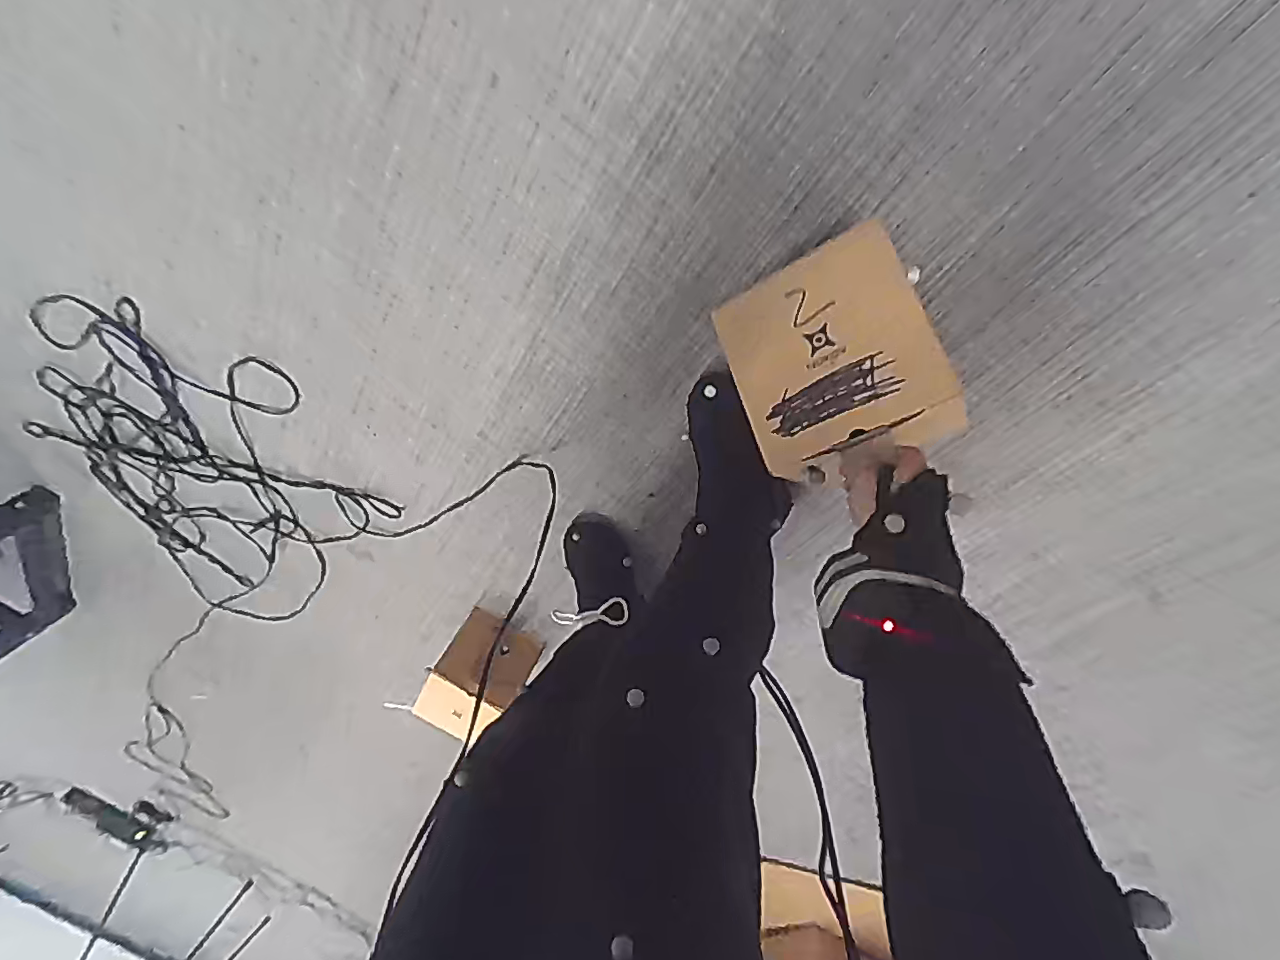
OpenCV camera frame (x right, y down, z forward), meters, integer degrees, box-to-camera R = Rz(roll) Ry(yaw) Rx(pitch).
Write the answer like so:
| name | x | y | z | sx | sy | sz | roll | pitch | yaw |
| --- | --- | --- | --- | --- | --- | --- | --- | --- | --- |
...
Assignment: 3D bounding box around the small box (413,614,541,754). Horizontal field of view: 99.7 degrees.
| name | x | y | z | sx | sy | sz | roll | pitch | yaw |
| --- | --- | --- | --- | --- | --- | --- | --- | --- | --- |
| small box | -0.325 | 0.410 | 1.099 | 0.168 | 0.176 | 0.179 | 32 | 125 | -4 |
